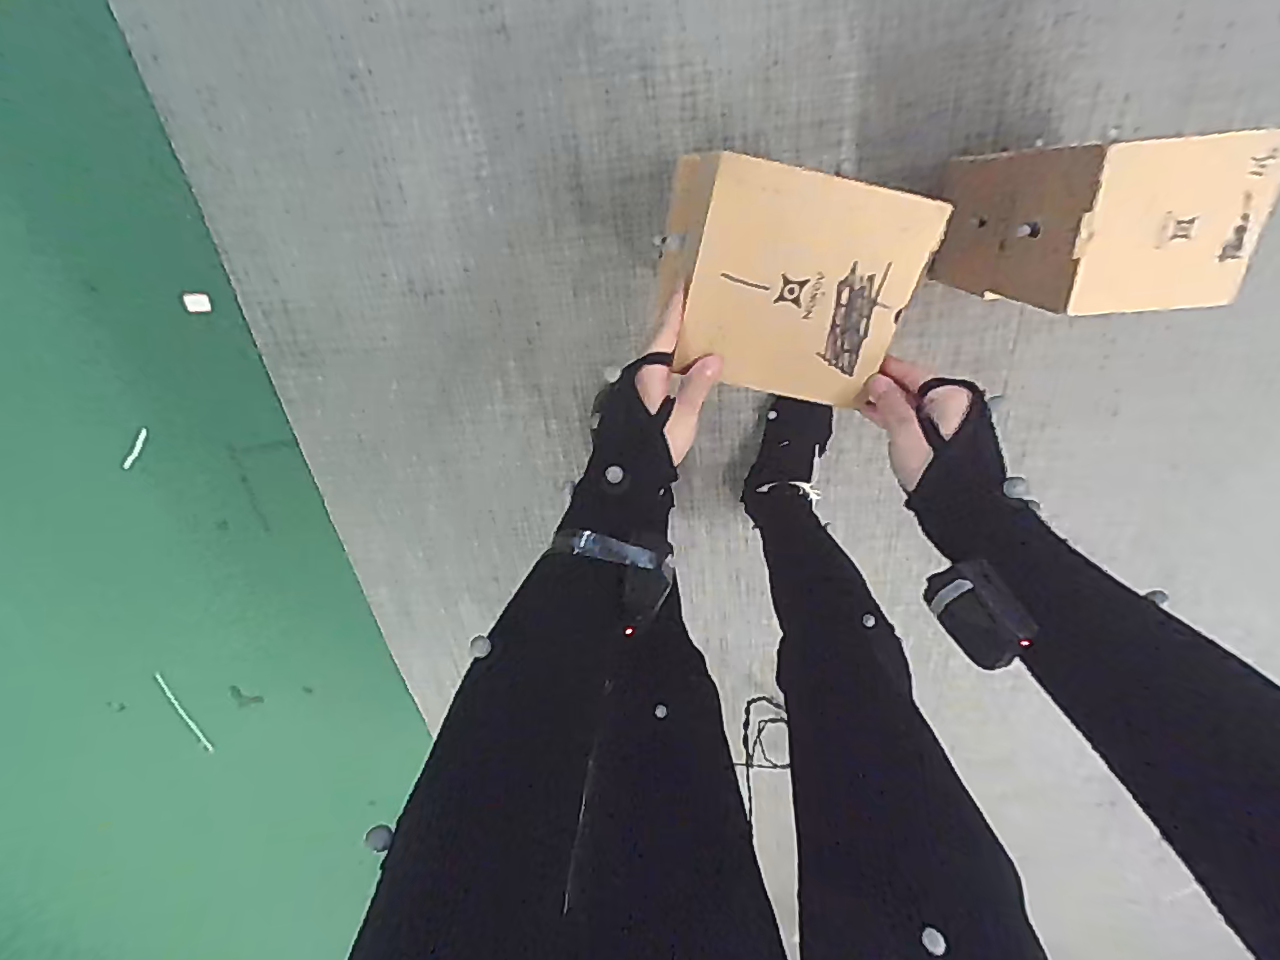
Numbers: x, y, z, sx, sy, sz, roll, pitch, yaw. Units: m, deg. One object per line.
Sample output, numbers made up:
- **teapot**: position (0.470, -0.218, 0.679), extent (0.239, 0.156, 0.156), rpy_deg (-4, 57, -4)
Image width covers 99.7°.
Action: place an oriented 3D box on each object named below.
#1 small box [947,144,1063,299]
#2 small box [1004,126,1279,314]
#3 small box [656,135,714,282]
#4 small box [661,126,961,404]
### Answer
- **small box**: position (0.550, -0.358, 0.743), extent (0.168, 0.176, 0.179), rpy_deg (-2, 118, 5)
- **small box**: position (0.546, -0.283, 0.596), extent (0.179, 0.176, 0.168), rpy_deg (0, 119, 5)
- **small box**: position (0.129, -0.360, 0.767), extent (0.168, 0.176, 0.179), rpy_deg (15, 118, -5)
- **small box**: position (0.122, -0.188, 0.469), extent (0.179, 0.176, 0.168), rpy_deg (13, 120, -5)
